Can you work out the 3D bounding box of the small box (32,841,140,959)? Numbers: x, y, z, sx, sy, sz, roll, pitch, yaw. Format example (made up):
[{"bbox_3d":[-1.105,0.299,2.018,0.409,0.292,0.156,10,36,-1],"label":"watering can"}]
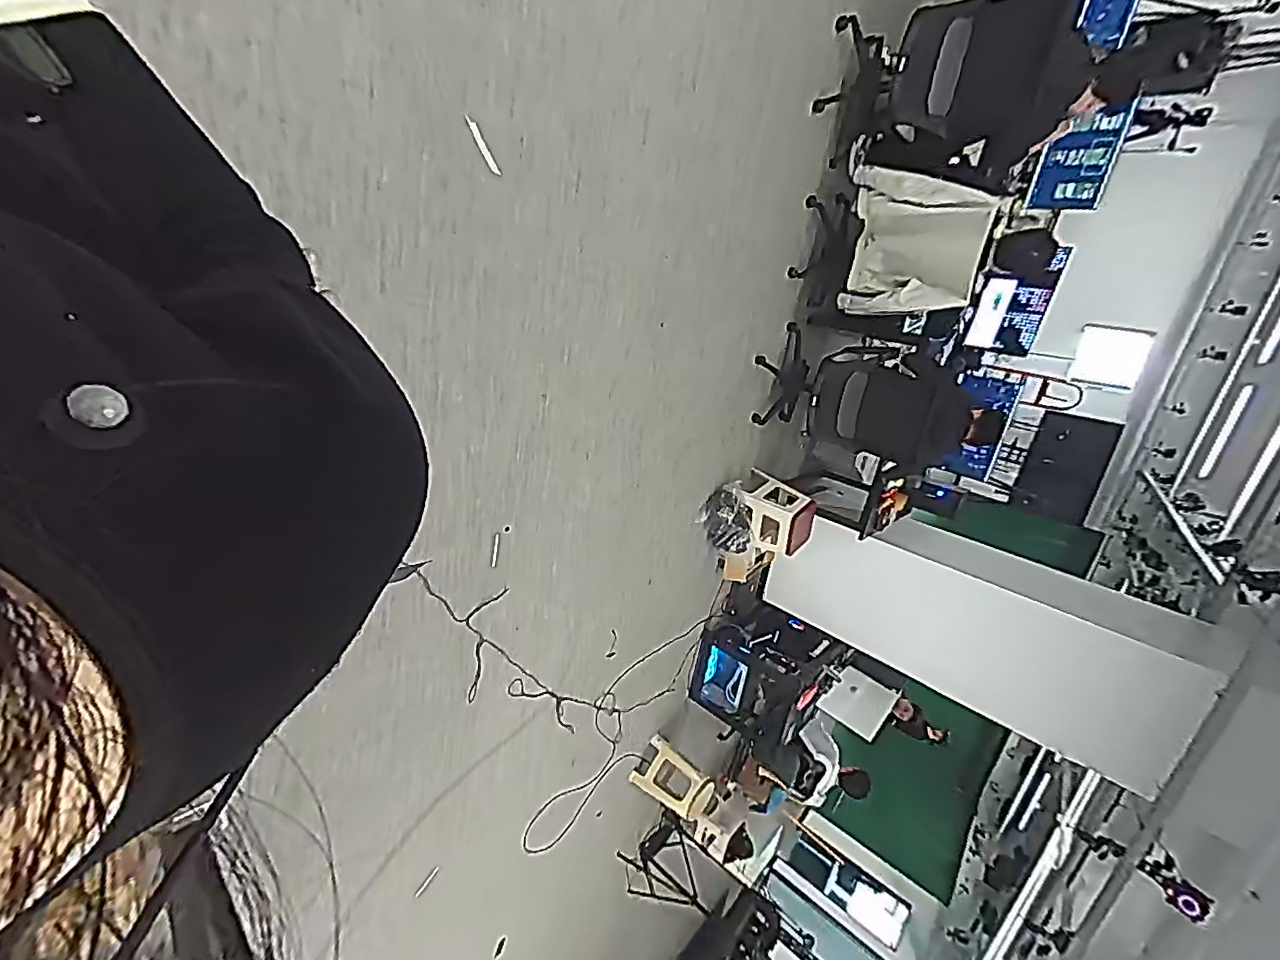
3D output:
[{"bbox_3d":[-1.333,1.031,1.304,0.168,0.176,0.179,-8,116,-51],"label":"small box"}]
